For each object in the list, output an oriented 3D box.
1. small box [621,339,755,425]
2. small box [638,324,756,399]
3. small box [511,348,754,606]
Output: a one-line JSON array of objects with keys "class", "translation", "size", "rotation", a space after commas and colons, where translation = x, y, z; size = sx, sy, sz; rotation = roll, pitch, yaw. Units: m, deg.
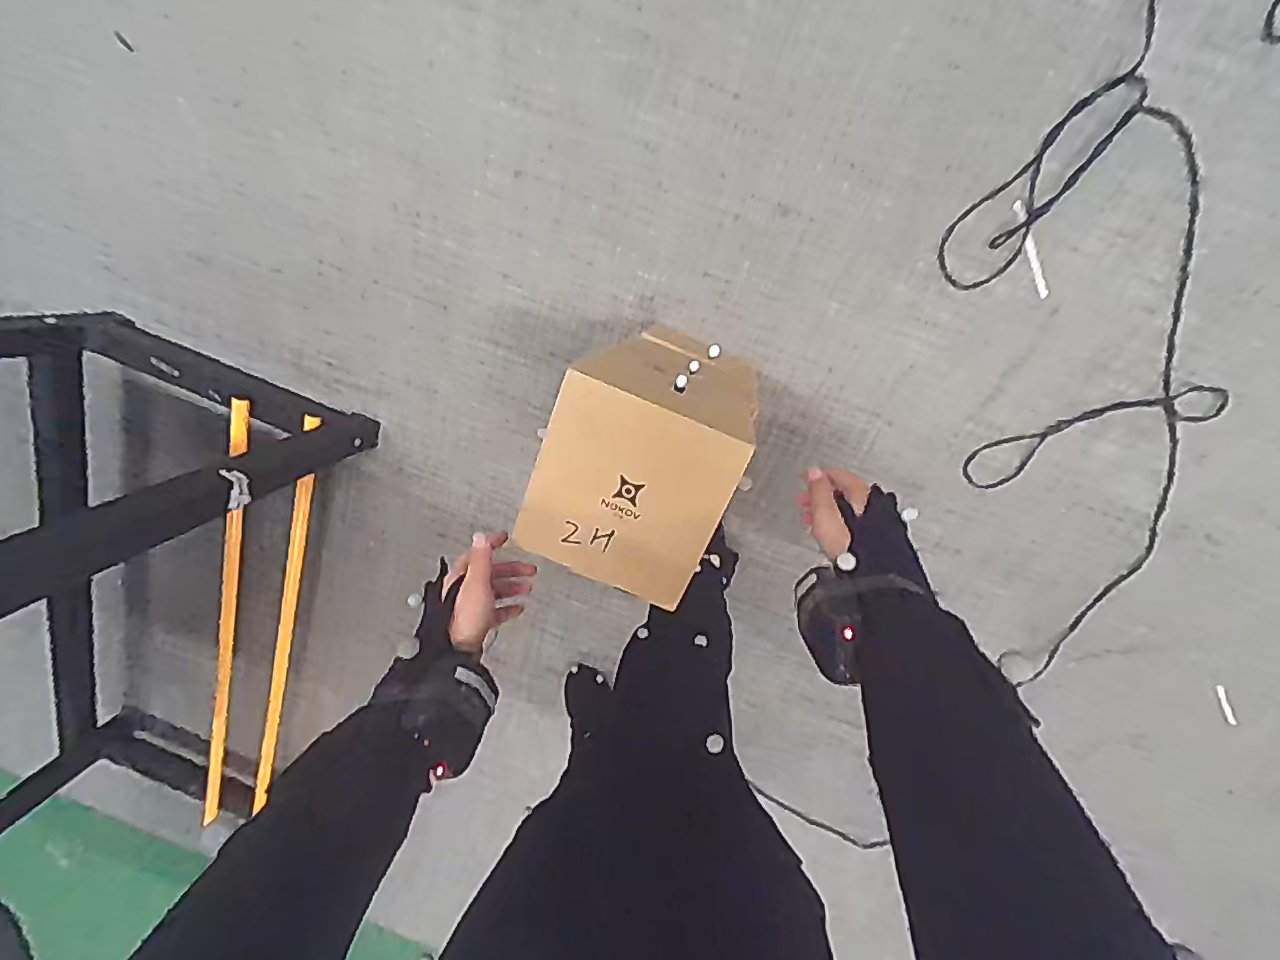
[{"class": "small box", "translation": [0.032, -0.071, 0.687], "size": [0.179, 0.176, 0.168], "rotation": [22, 111, 2]}, {"class": "small box", "translation": [0.060, -0.131, 0.835], "size": [0.179, 0.176, 0.168], "rotation": [24, 111, -1]}, {"class": "small box", "translation": [-0.002, -0.017, 0.536], "size": [0.168, 0.176, 0.179], "rotation": [23, 113, 1]}]
